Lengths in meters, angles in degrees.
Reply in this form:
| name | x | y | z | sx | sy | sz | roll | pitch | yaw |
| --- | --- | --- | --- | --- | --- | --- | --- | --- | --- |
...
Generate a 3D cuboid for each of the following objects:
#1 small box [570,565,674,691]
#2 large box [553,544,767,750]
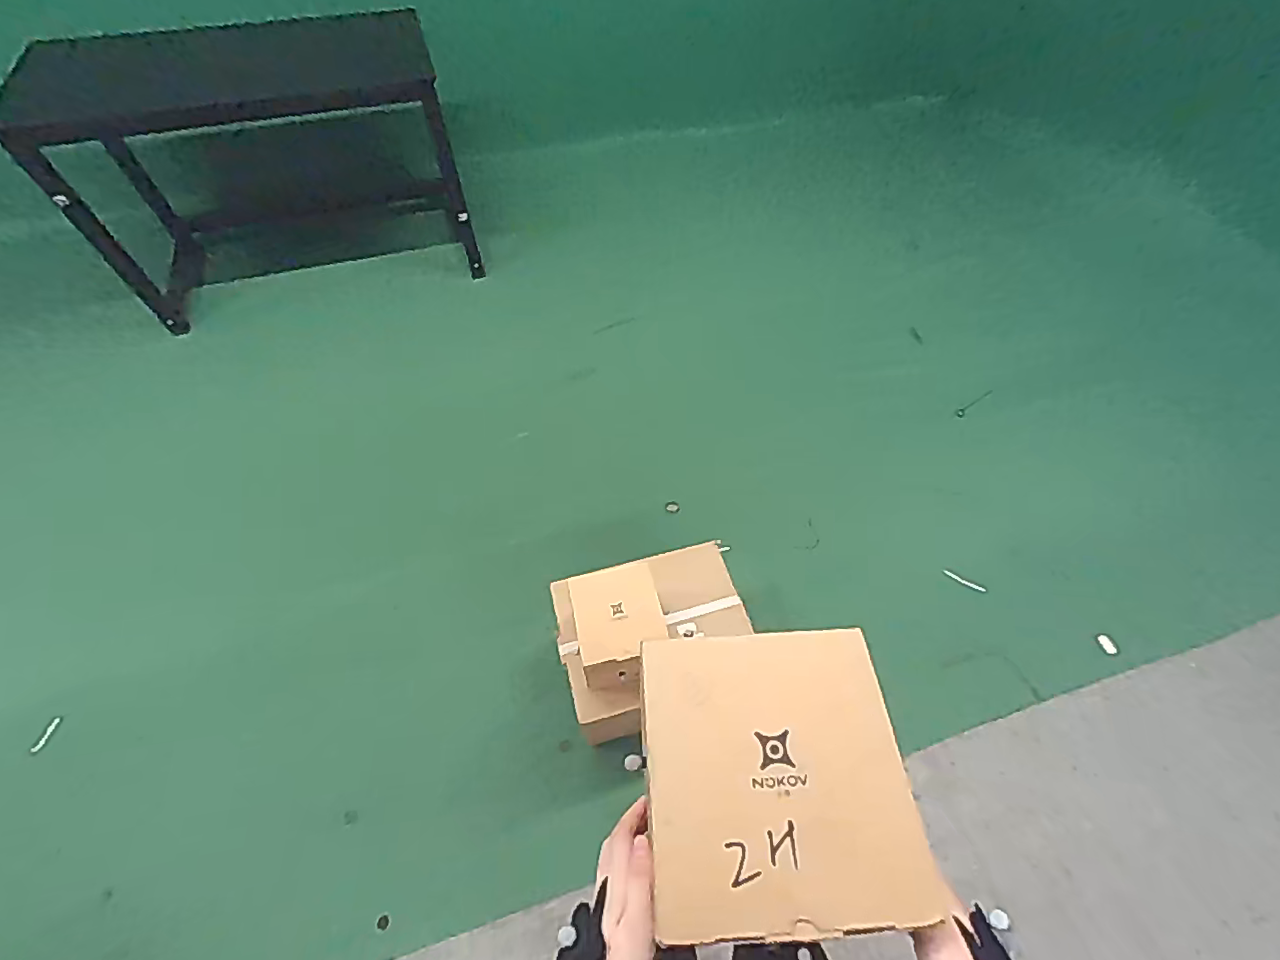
| name | x | y | z | sx | sy | sz | roll | pitch | yaw |
| --- | --- | --- | --- | --- | --- | --- | --- | --- | --- |
| small box | -0.040 | 0.293 | 1.066 | 0.168 | 0.176 | 0.179 | -11 | 58 | -9 |
| large box | 0.031 | 0.401 | 1.287 | 0.408 | 0.320 | 0.320 | -13 | 58 | -10 |
